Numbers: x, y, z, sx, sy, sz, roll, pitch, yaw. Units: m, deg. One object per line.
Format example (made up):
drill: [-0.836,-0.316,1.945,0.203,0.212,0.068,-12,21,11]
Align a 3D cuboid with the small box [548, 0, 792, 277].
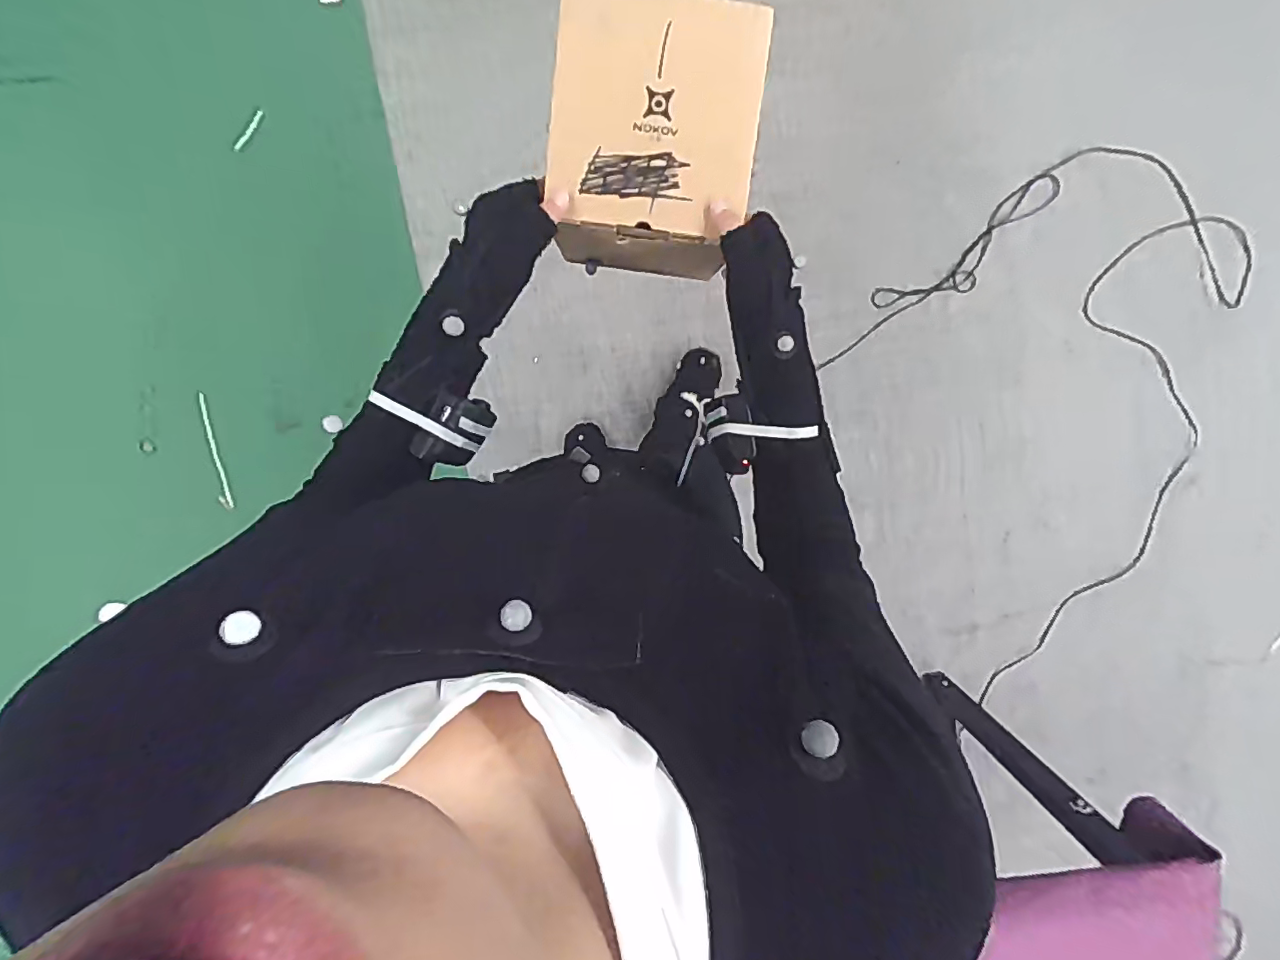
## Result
small box: [0.017,-0.299,0.499,0.168,0.176,0.179,10,101,-6]
